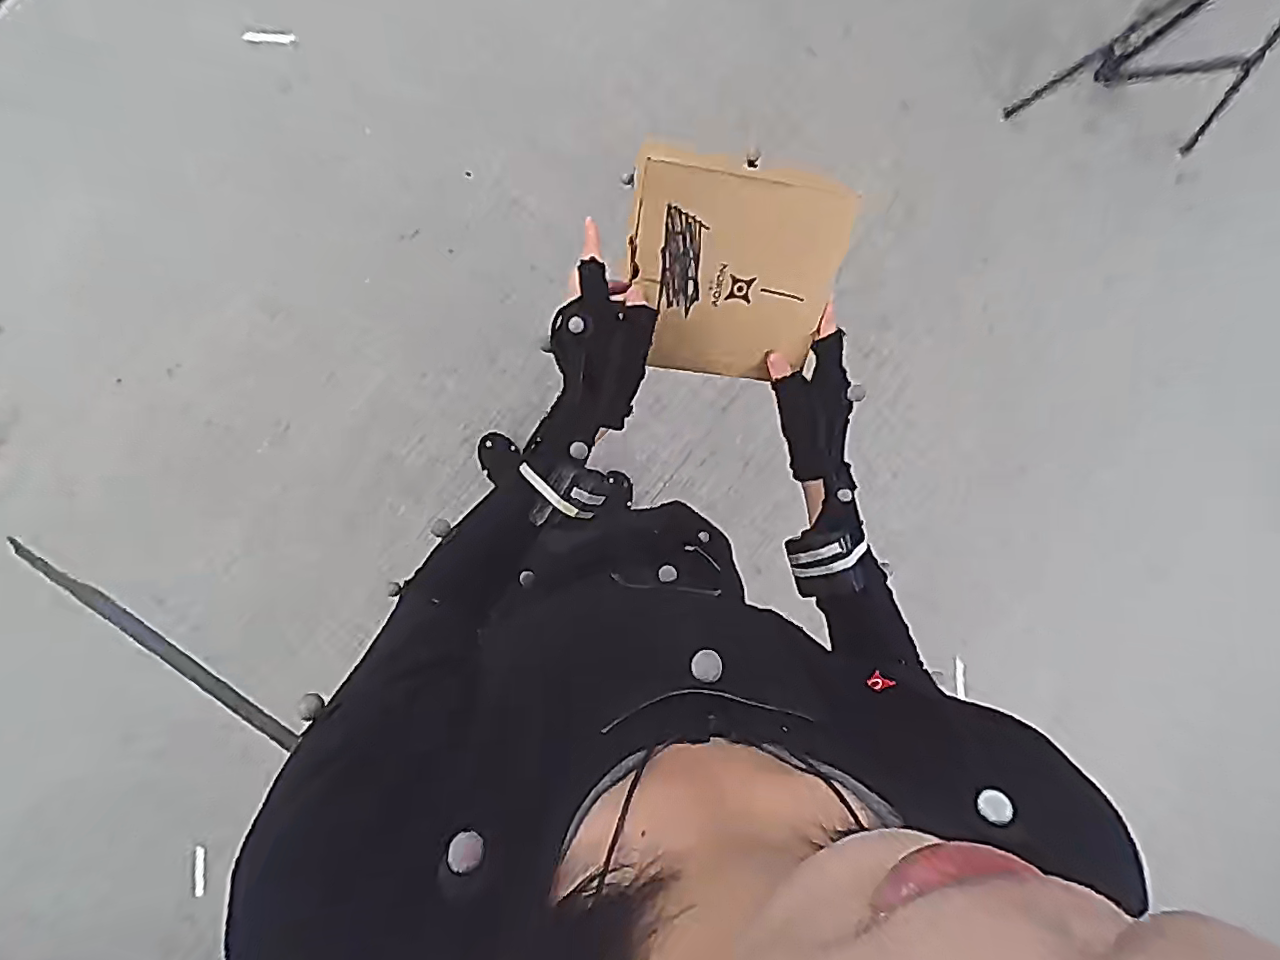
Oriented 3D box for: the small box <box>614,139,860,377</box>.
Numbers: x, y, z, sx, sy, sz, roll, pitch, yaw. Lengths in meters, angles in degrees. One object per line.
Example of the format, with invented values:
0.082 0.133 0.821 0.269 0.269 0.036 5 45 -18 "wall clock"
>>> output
0.071 -0.217 0.519 0.179 0.176 0.168 5 125 -7 "small box"
